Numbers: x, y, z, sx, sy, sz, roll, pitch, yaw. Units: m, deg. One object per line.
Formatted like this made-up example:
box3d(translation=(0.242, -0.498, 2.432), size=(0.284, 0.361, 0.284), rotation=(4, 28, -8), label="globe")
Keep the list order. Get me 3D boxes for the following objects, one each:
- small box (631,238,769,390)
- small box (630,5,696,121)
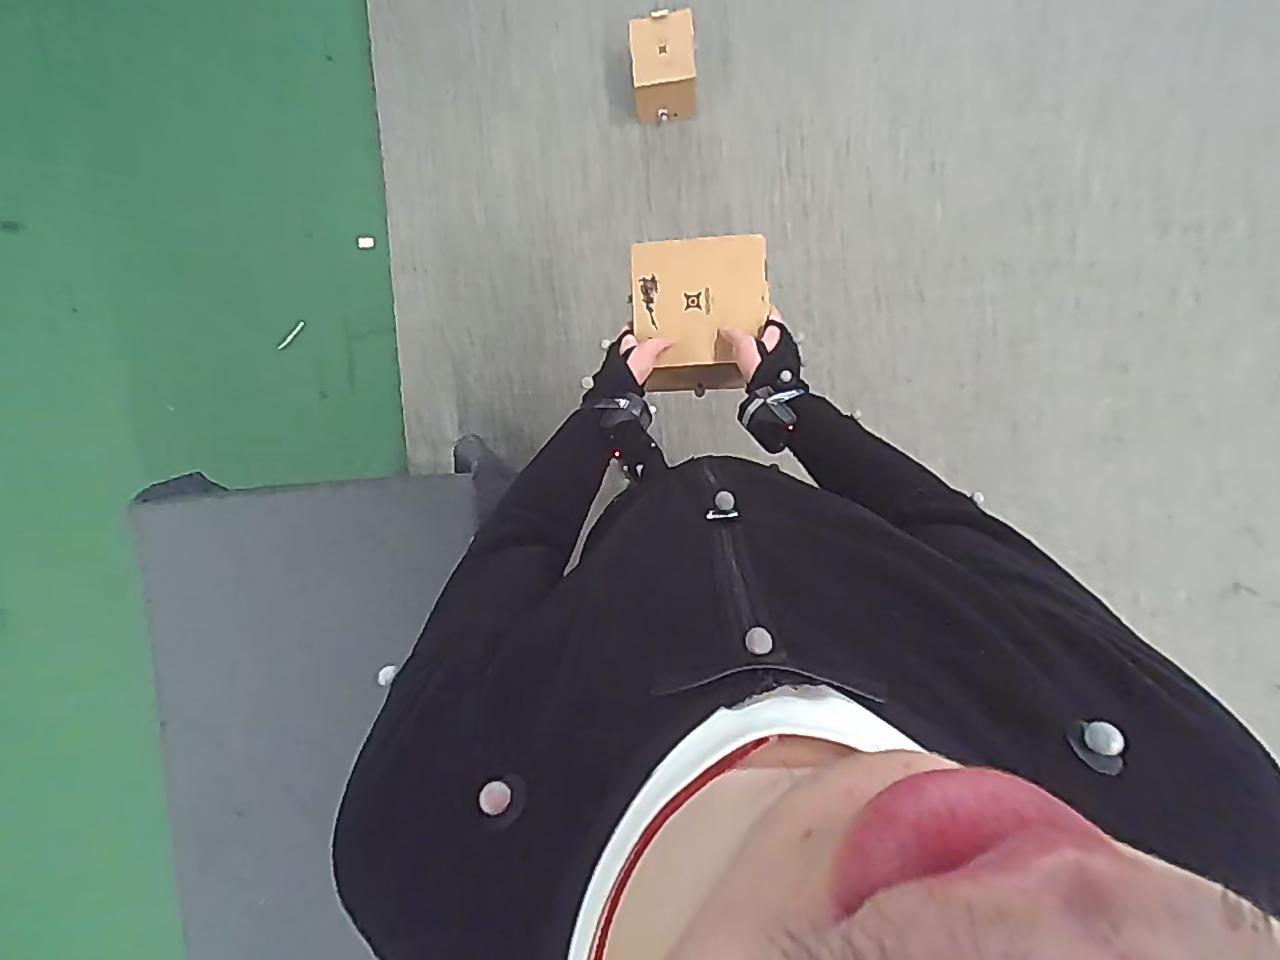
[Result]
box3d(translation=(0.080, -0.226, 0.774), size=(0.179, 0.176, 0.168), rotation=(-2, 88, 3), label="small box")
box3d(translation=(0.066, -1.112, 1.453), size=(0.168, 0.176, 0.179), rotation=(-2, 92, 7), label="small box")
